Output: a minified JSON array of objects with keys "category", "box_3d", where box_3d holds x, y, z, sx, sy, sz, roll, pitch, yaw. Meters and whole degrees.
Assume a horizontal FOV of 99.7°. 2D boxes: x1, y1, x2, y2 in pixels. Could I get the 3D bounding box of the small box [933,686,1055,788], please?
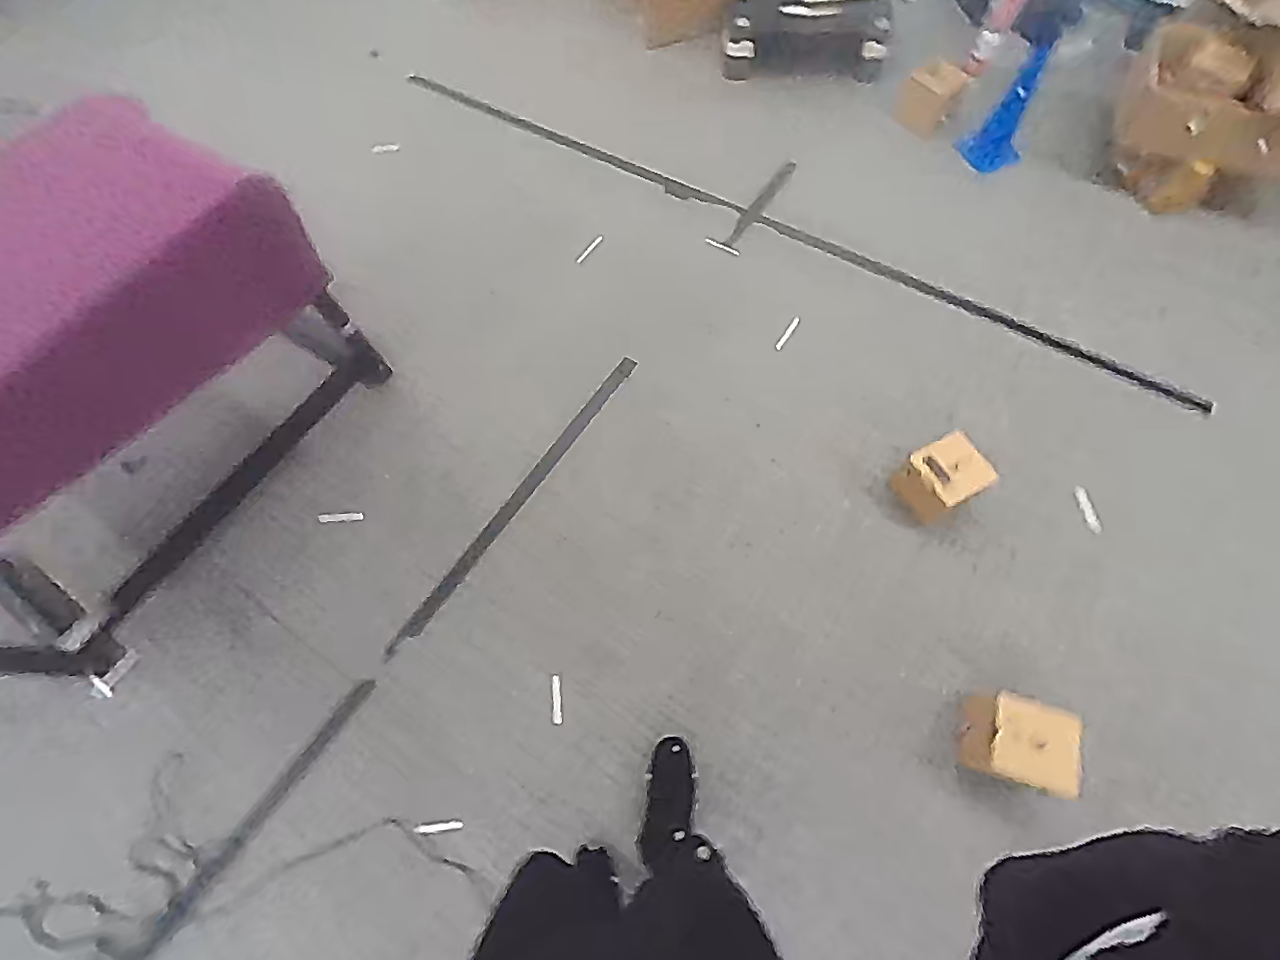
[{"category":"small box","box_3d":[0.838,0.602,1.289,0.179,0.176,0.168,19,70,9]}]
